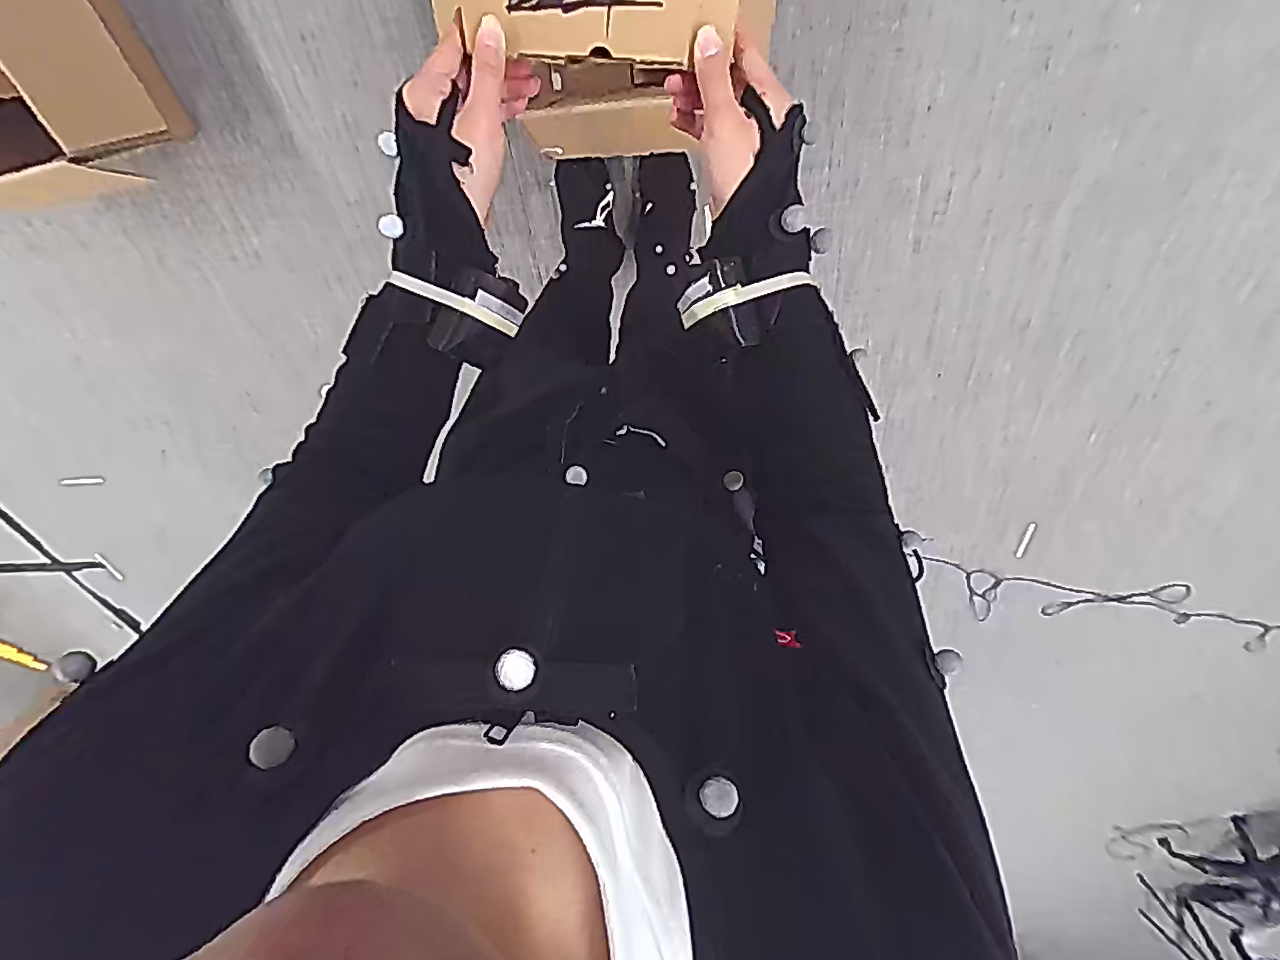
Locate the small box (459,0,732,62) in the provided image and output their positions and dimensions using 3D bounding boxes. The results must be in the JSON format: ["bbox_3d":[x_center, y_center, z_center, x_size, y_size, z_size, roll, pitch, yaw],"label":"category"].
[{"bbox_3d":[-0.022,-0.382,0.335,0.168,0.176,0.179,2,132,-1],"label":"small box"}]

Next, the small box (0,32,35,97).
[{"bbox_3d":[-1.093,-0.662,0.793,0.168,0.176,0.179,-4,129,9],"label":"small box"}]
